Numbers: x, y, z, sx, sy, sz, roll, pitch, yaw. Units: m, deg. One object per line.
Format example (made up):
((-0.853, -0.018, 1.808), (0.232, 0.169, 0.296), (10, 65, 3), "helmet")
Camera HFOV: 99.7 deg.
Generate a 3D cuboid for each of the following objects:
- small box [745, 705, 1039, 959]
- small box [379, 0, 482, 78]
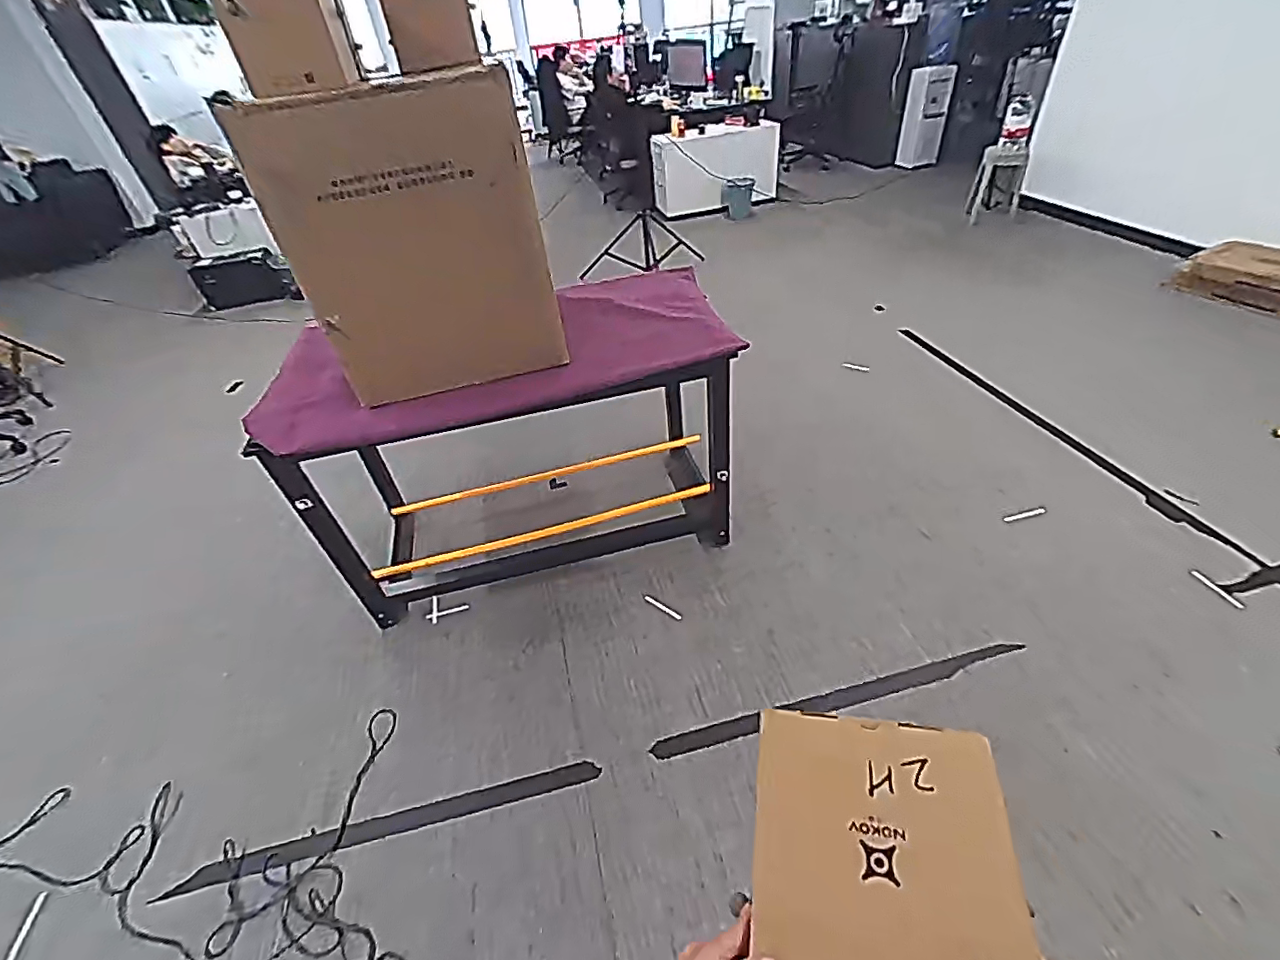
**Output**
((0.174, 0.302, 0.413), (0.168, 0.176, 0.179), (1, 43, 16), "small box")
((-0.445, -0.981, 1.153), (0.179, 0.176, 0.168), (-16, 41, -7), "small box")
